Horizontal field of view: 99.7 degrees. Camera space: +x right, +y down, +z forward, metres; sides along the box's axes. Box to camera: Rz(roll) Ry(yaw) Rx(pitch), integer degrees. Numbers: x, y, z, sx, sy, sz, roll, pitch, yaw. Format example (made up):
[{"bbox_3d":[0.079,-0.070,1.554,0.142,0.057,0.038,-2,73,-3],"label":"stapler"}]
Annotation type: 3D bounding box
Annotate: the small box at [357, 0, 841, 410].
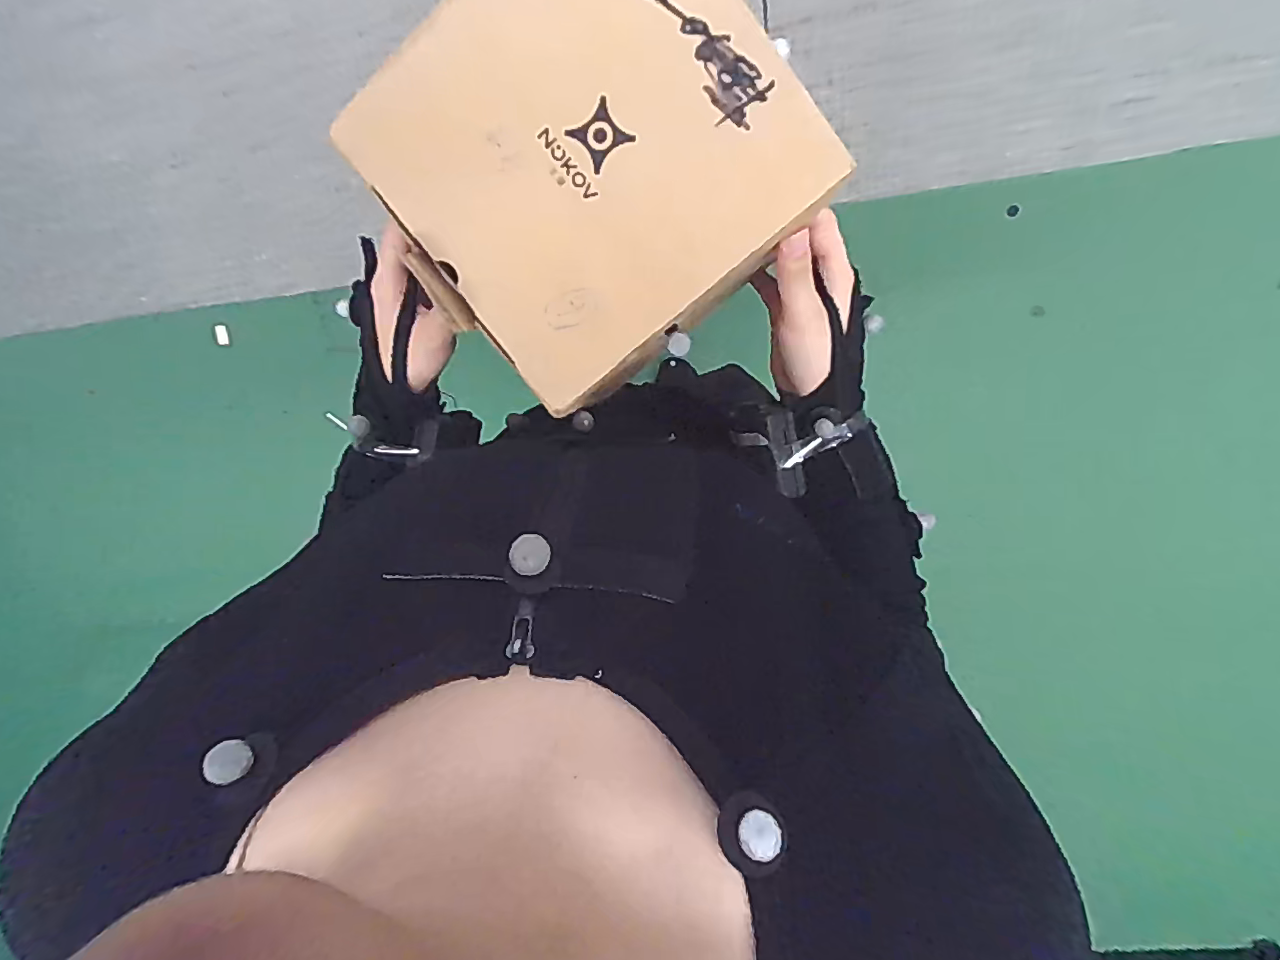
[{"bbox_3d":[-0.016,-0.162,0.331,0.179,0.176,0.168,-38,97,10],"label":"small box"}]
